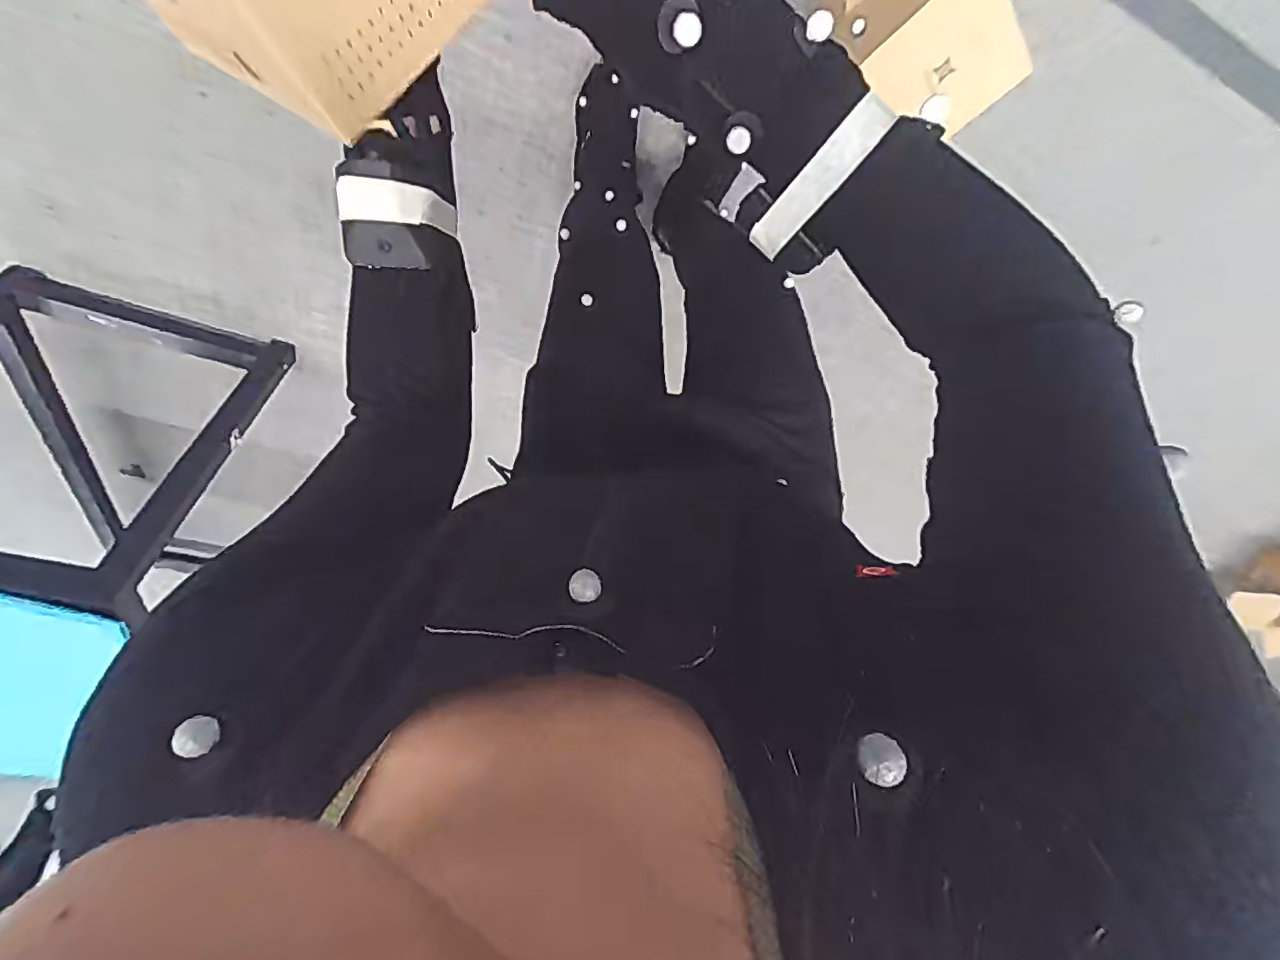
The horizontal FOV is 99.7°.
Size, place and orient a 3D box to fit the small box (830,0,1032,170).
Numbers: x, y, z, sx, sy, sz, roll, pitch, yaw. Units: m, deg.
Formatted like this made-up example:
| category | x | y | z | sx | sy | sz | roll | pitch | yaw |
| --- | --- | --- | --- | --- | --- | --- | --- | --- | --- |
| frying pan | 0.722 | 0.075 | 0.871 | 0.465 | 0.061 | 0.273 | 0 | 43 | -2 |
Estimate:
| category | x | y | z | sx | sy | sz | roll | pitch | yaw |
| --- | --- | --- | --- | --- | --- | --- | --- | --- | --- |
| small box | 0.380 | -0.577 | 0.736 | 0.179 | 0.176 | 0.168 | -33 | 131 | 31 |

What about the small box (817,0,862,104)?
| category | x | y | z | sx | sy | sz | roll | pitch | yaw |
| --- | --- | --- | --- | --- | --- | --- | --- | --- | --- |
| small box | 0.380 | -0.712 | 0.833 | 0.179 | 0.176 | 0.168 | -7 | 138 | 7 |
